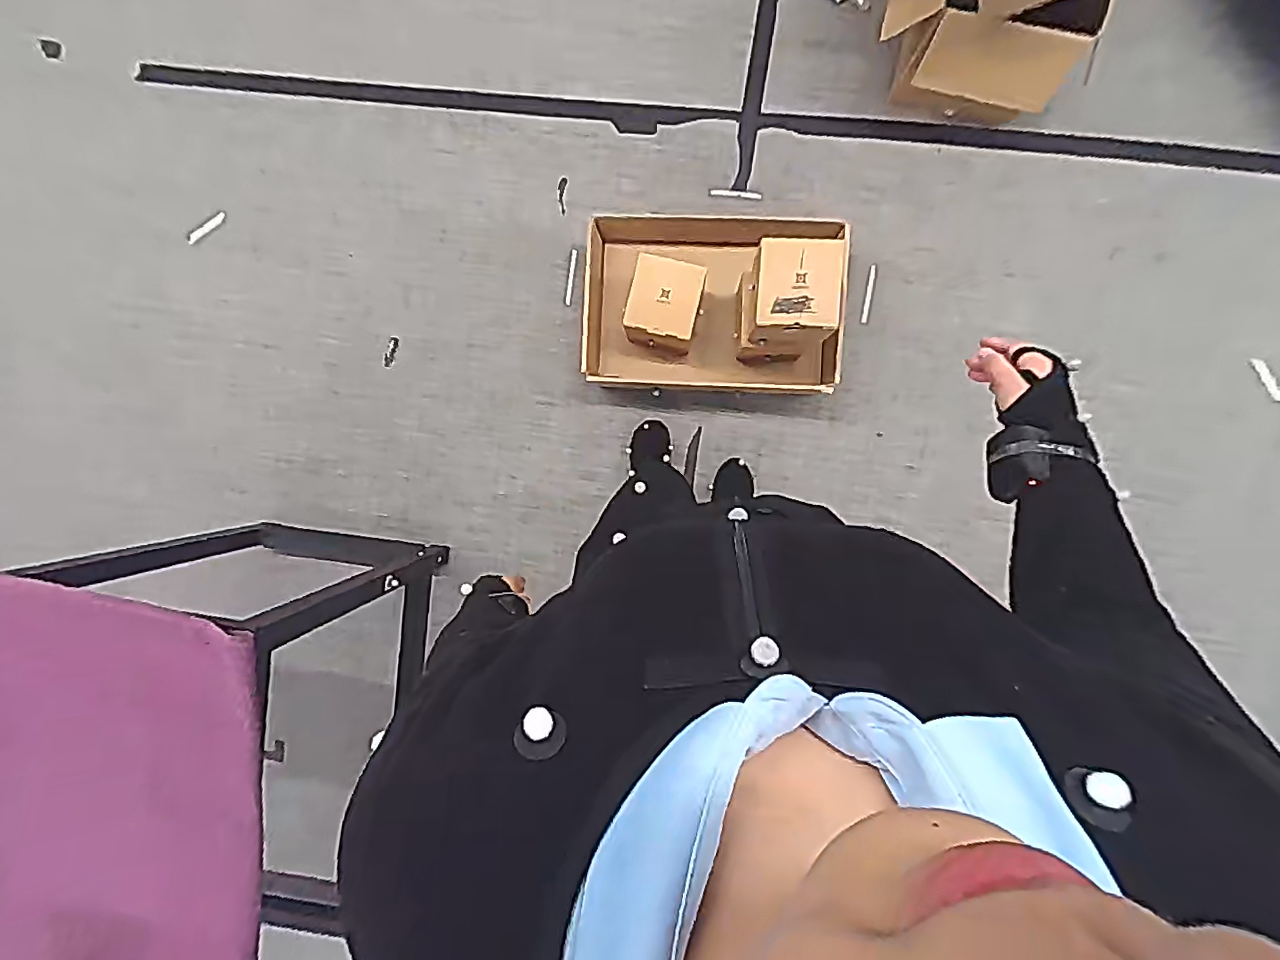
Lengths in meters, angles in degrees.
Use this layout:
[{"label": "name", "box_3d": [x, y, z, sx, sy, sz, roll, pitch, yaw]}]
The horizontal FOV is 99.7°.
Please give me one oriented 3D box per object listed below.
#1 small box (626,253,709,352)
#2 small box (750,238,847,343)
[{"label": "small box", "box_3d": [0.068, -0.433, 1.346, 0.168, 0.176, 0.179, 14, 94, 3]}, {"label": "small box", "box_3d": [0.330, -0.397, 1.159, 0.168, 0.176, 0.179, 4, 93, 5]}]
